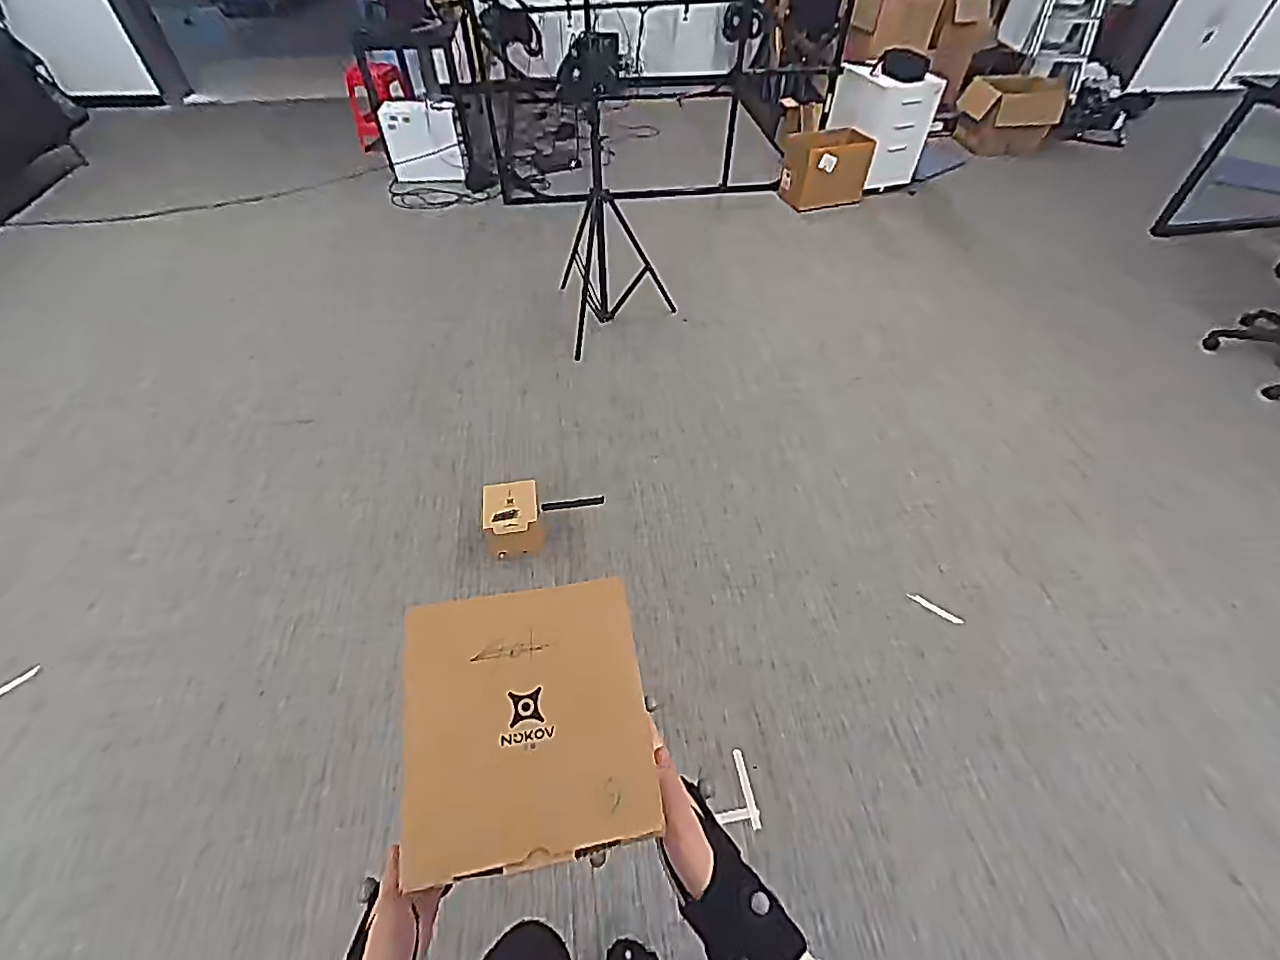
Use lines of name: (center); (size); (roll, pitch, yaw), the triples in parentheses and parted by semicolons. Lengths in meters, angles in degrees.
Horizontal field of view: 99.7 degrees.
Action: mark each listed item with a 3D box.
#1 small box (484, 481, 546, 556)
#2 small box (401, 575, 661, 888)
small box: (-0.399, 0.131, 1.735); (0.168, 0.176, 0.179); (-8, 50, -6)
small box: (-0.086, 0.198, 0.444); (0.168, 0.176, 0.179); (-7, 61, -10)
